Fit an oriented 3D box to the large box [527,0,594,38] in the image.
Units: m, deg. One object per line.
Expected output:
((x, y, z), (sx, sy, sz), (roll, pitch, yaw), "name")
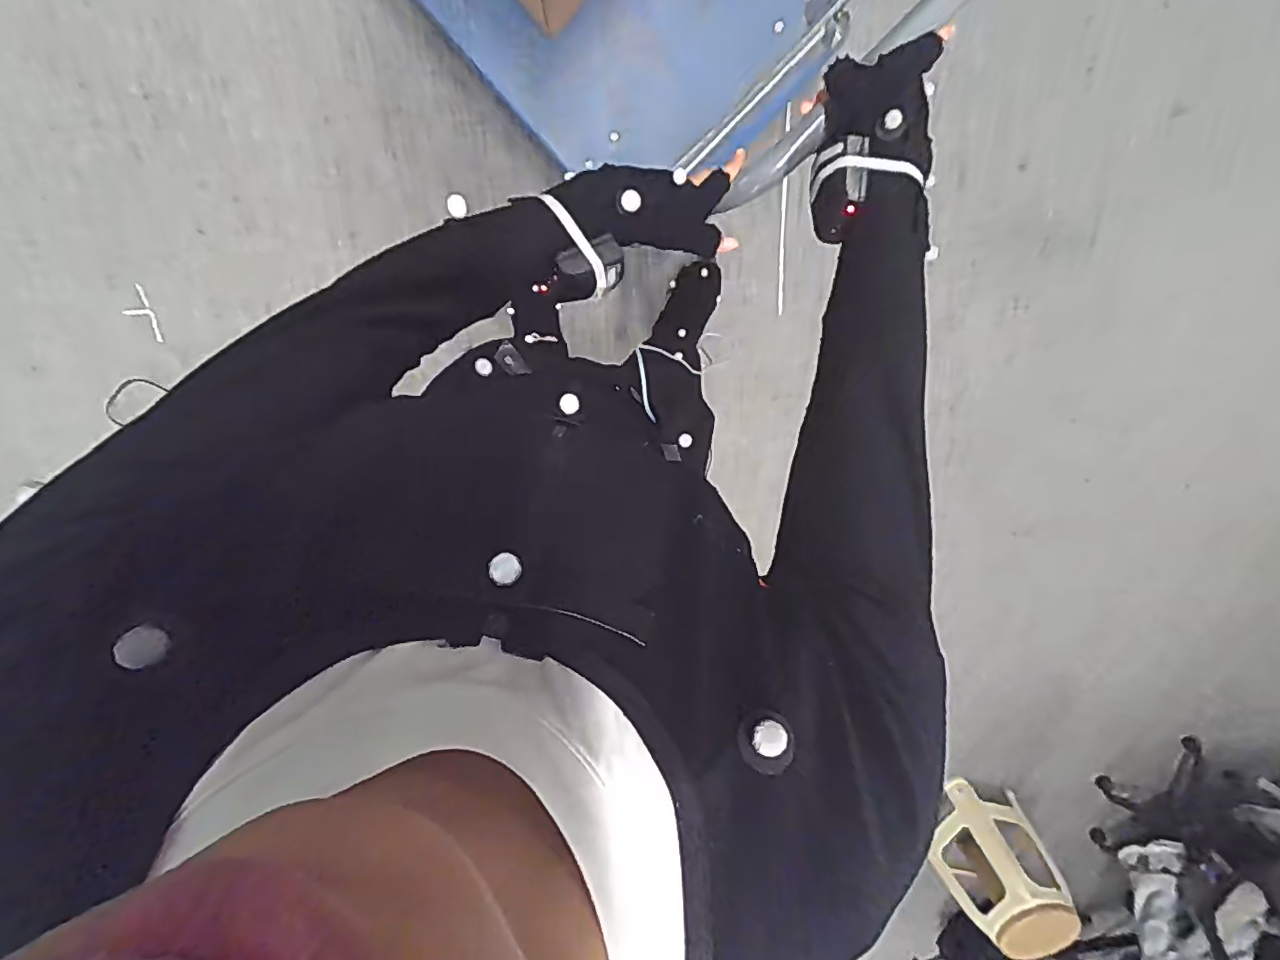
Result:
((-0.102, -0.976, 0.766), (0.320, 0.320, 0.408), (41, 105, -19), "large box")
